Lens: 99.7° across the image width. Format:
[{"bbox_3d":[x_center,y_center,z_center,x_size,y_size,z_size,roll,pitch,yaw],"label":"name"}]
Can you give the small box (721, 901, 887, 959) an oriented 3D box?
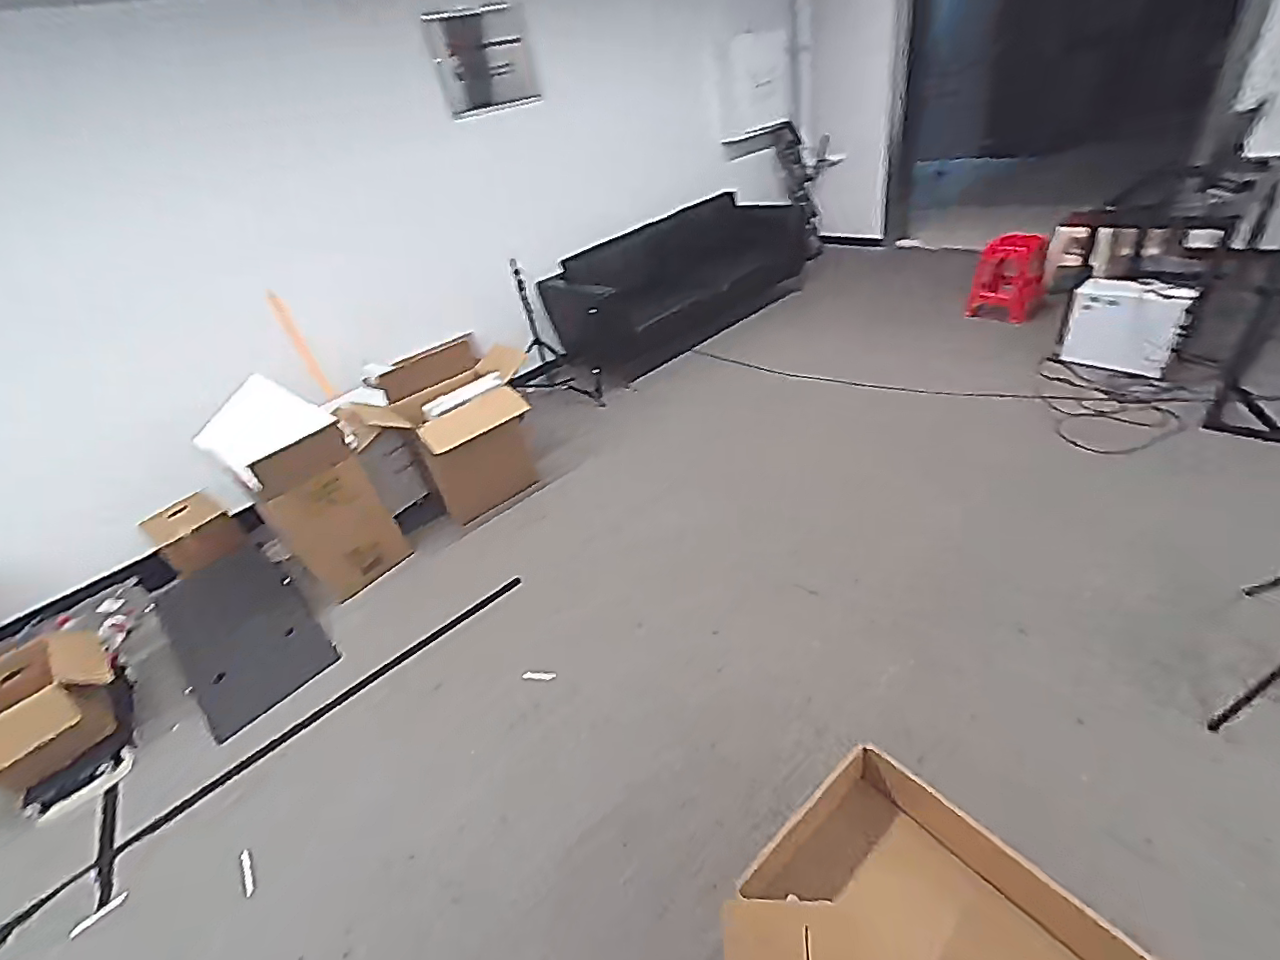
[{"bbox_3d":[0.177,0.577,0.587,0.168,0.176,0.179,-3,46,4],"label":"small box"}]
